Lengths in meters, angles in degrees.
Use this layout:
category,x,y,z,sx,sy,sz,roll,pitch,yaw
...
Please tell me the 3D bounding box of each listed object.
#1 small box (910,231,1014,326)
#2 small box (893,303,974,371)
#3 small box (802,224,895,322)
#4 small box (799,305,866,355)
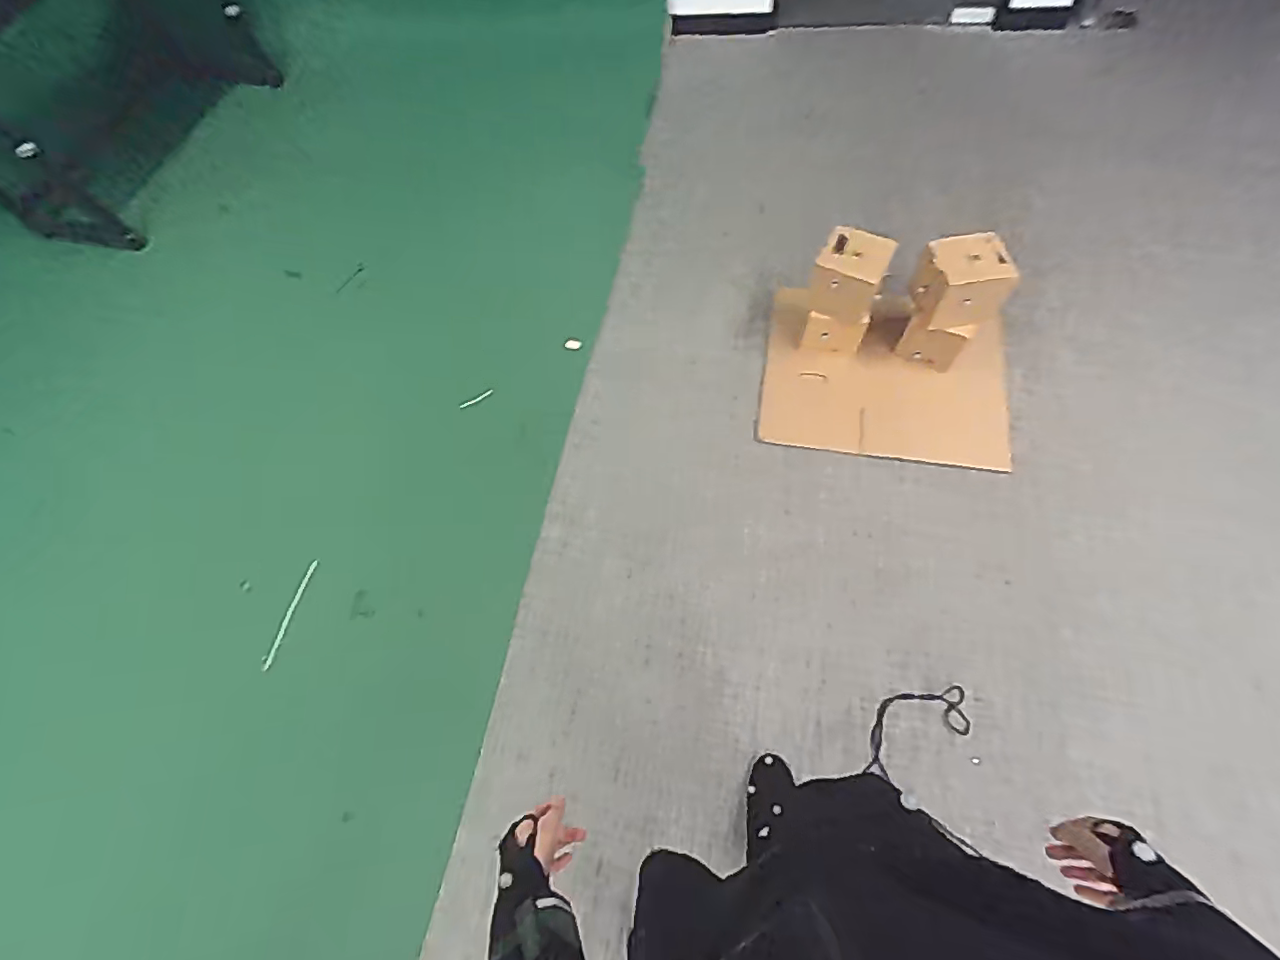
category,x,y,z,sx,sy,sz,roll,pitch,yaw
small box,0.857,-0.539,1.467,0.179,0.176,0.168,-8,64,3
small box,0.881,-0.461,1.609,0.168,0.176,0.179,26,70,17
small box,0.575,-0.574,1.515,0.179,0.176,0.168,26,70,16
small box,0.592,-0.507,1.665,0.168,0.176,0.179,10,66,10
